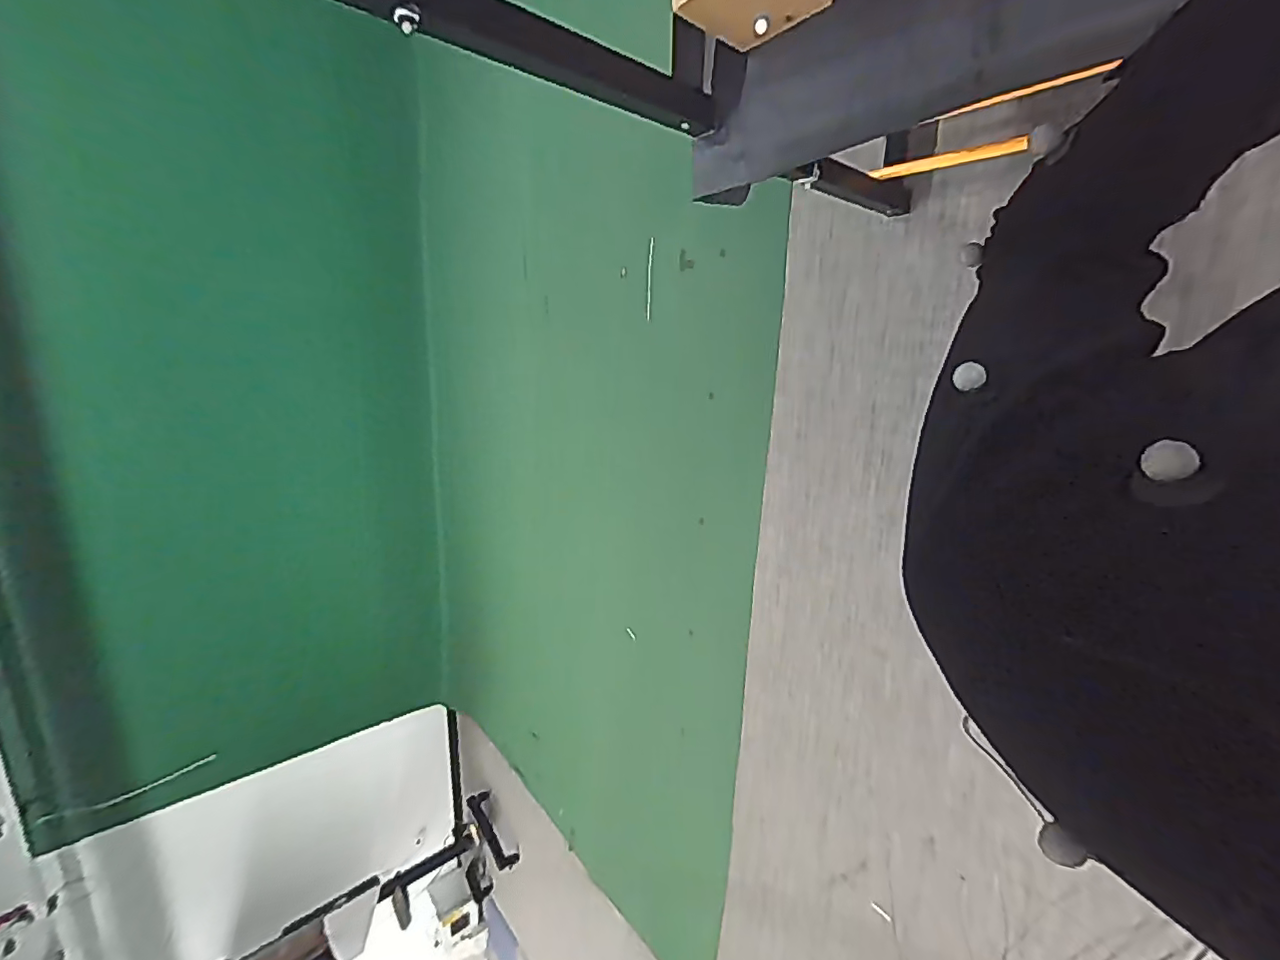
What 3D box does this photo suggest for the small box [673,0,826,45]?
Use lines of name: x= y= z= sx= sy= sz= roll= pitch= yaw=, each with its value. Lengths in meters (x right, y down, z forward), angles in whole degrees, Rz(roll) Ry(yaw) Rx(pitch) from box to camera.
small box: x=0.163 y=-0.774 z=0.763 sx=0.168 sy=0.176 sz=0.179 roll=14 pitch=108 yaw=49
